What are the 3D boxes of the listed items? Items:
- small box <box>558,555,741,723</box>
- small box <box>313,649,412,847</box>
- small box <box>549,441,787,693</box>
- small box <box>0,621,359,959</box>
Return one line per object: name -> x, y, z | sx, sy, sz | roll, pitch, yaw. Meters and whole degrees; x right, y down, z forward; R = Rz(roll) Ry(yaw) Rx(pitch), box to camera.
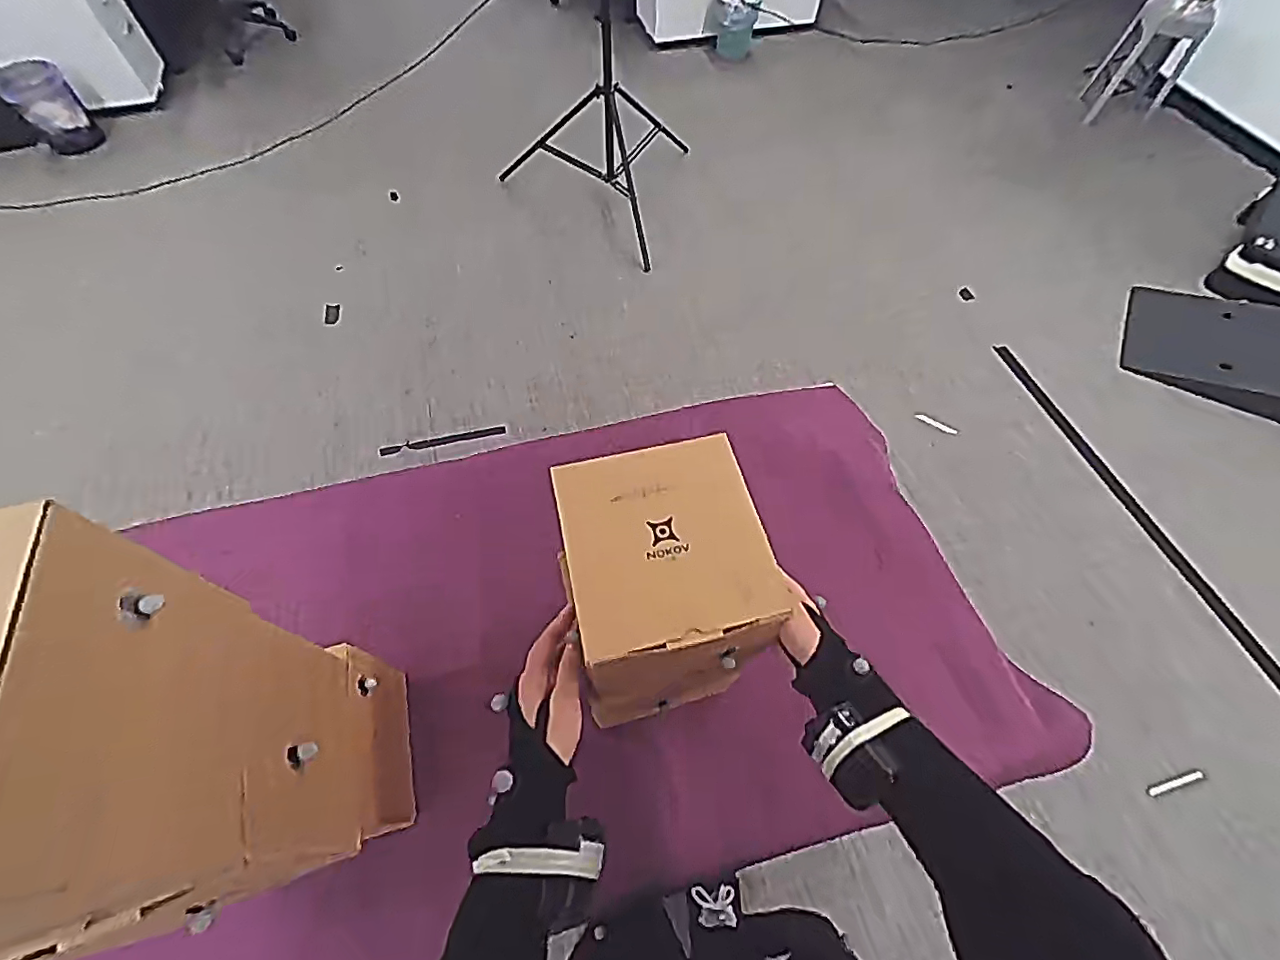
small box -> 0.006, 0.181, 0.653 | 0.168, 0.176, 0.179 | -13, 61, -9
small box -> -0.357, 0.305, 0.579 | 0.168, 0.176, 0.179 | -14, 60, -9
small box -> 0.017, 0.092, 0.516 | 0.168, 0.176, 0.179 | -12, 60, -8
small box -> -0.346, 0.239, 0.428 | 0.168, 0.176, 0.179 | -18, 62, -11
